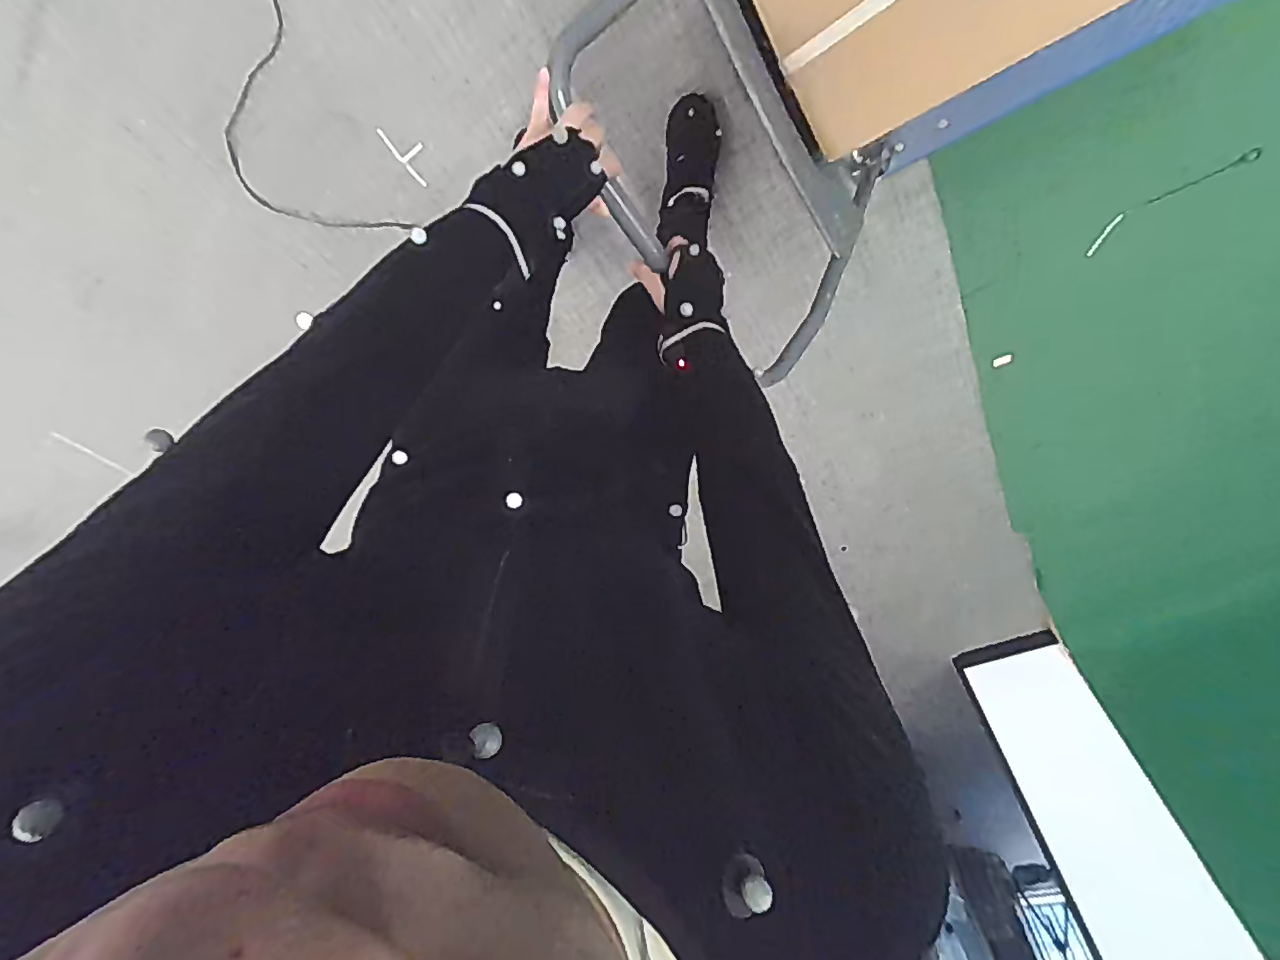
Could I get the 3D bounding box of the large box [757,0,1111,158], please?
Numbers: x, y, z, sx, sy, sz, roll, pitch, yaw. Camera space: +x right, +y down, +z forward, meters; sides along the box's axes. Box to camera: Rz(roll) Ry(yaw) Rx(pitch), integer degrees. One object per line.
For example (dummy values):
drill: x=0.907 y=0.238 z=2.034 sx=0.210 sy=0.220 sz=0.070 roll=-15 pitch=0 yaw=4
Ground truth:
large box: x=0.408 y=-0.746 z=0.734 sx=0.408 sy=0.320 sz=0.320 roll=-11 pitch=134 yaw=42
